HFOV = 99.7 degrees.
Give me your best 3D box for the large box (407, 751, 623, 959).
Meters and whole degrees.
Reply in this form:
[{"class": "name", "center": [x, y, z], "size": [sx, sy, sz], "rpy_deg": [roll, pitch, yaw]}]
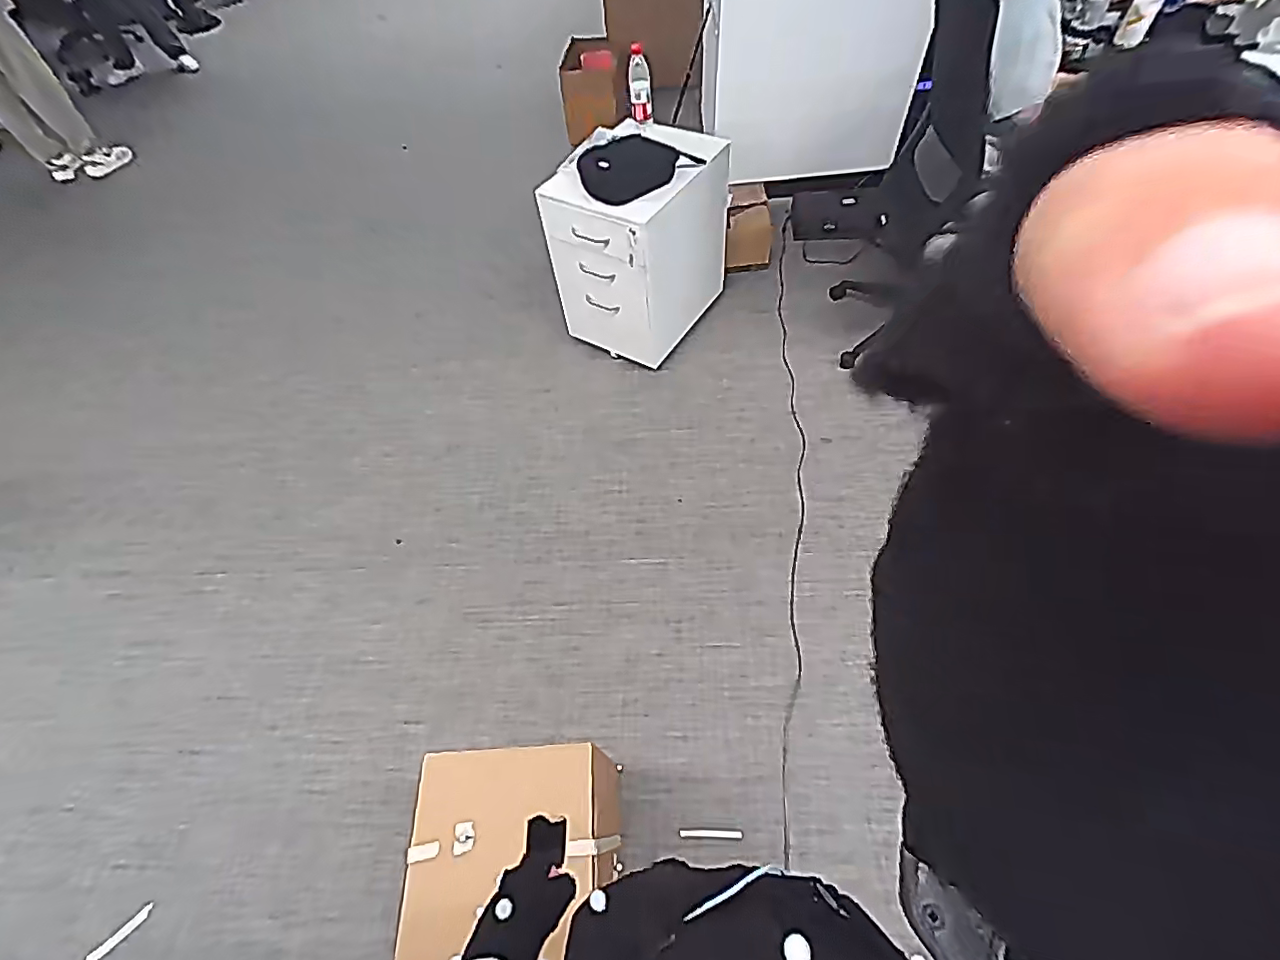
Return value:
[{"class": "large box", "center": [-0.211, 0.730, 1.060], "size": [0.320, 0.408, 0.320], "rpy_deg": [-4, 58, 2]}]
